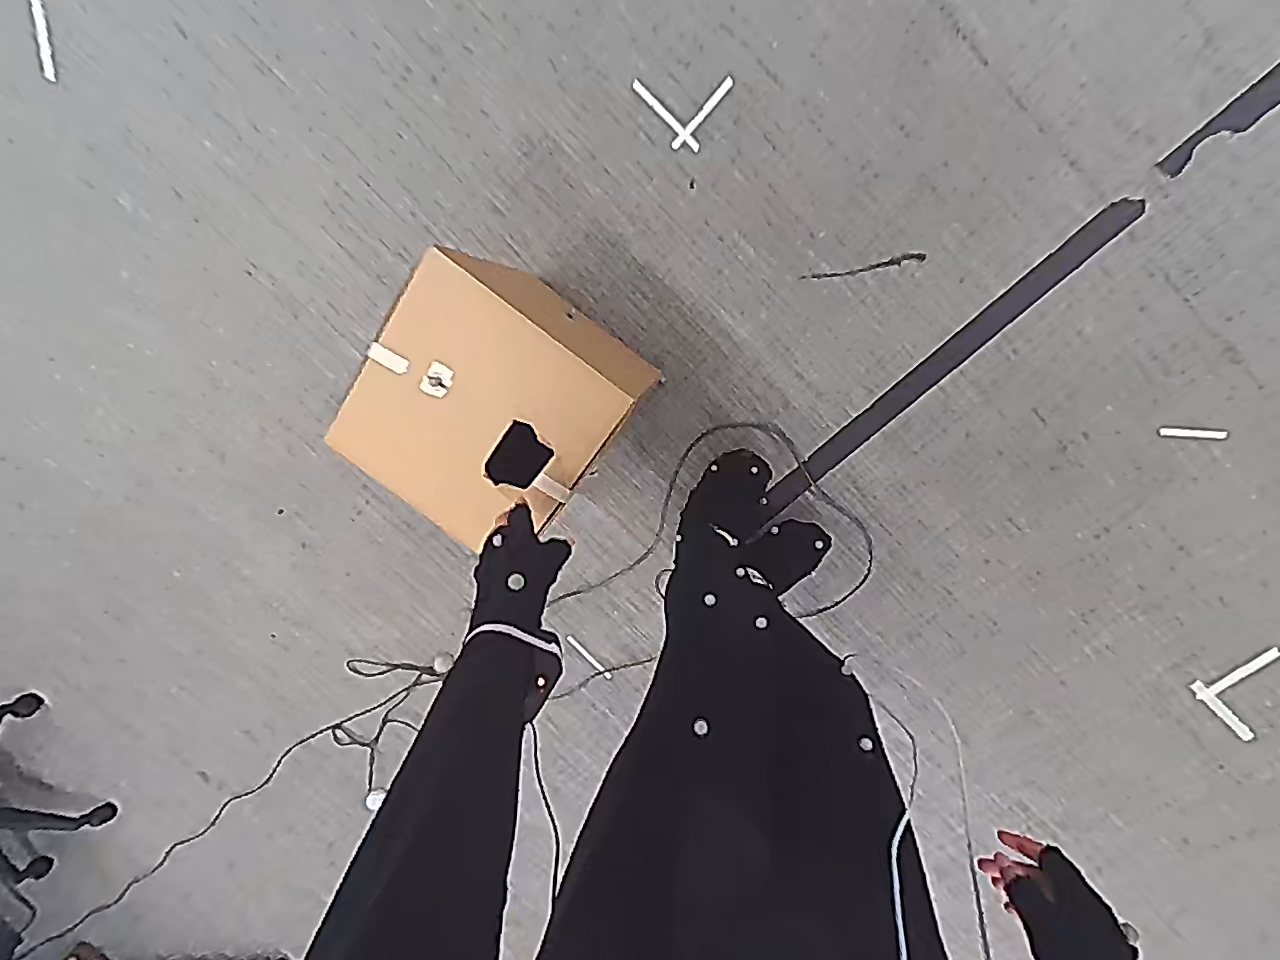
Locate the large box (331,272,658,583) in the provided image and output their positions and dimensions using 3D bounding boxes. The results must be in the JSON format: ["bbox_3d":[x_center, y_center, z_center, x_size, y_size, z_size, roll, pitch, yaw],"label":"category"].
[{"bbox_3d":[-0.200,-0.110,0.890,0.320,0.408,0.320,37,108,-4],"label":"large box"}]
